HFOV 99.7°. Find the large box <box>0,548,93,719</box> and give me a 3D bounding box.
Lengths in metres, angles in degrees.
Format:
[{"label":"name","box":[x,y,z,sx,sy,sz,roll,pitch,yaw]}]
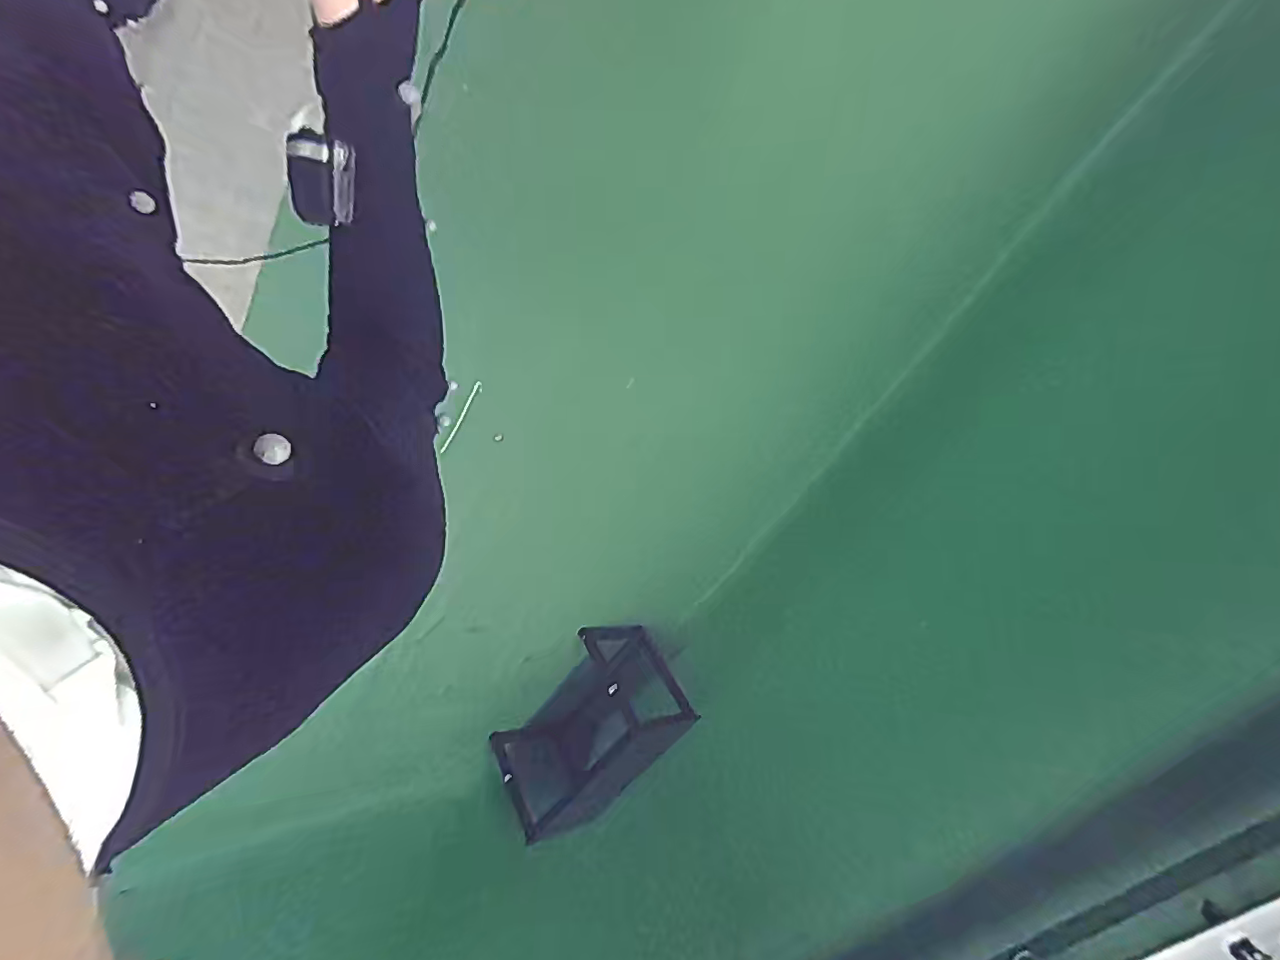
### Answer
[{"label":"large box","box":[-1.785,0.441,1.413,0.408,0.320,0.320,-20,141,-25]}]
